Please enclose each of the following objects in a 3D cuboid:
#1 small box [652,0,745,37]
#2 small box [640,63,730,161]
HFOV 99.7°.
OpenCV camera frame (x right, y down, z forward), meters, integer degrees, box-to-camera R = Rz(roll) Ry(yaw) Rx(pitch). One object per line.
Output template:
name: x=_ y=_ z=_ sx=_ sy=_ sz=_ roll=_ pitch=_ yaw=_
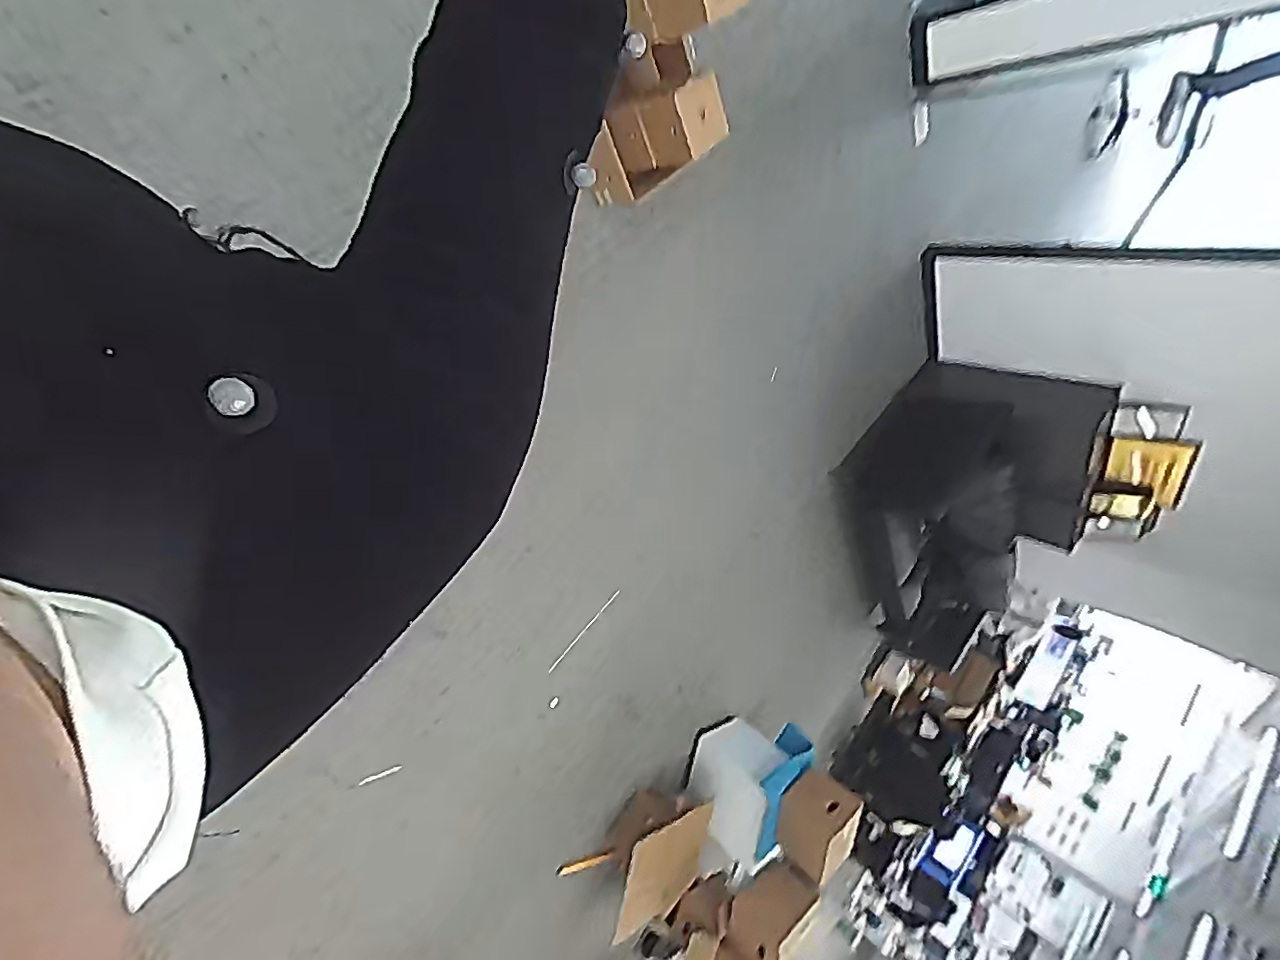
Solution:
small box: x=0.131 y=-1.190 z=1.268 sx=0.168 sy=0.176 sz=0.179 roll=-45 pitch=134 yaw=-20
small box: x=0.127 y=-1.057 z=1.565 sx=0.168 sy=0.176 sz=0.179 roll=-45 pitch=133 yaw=-17
